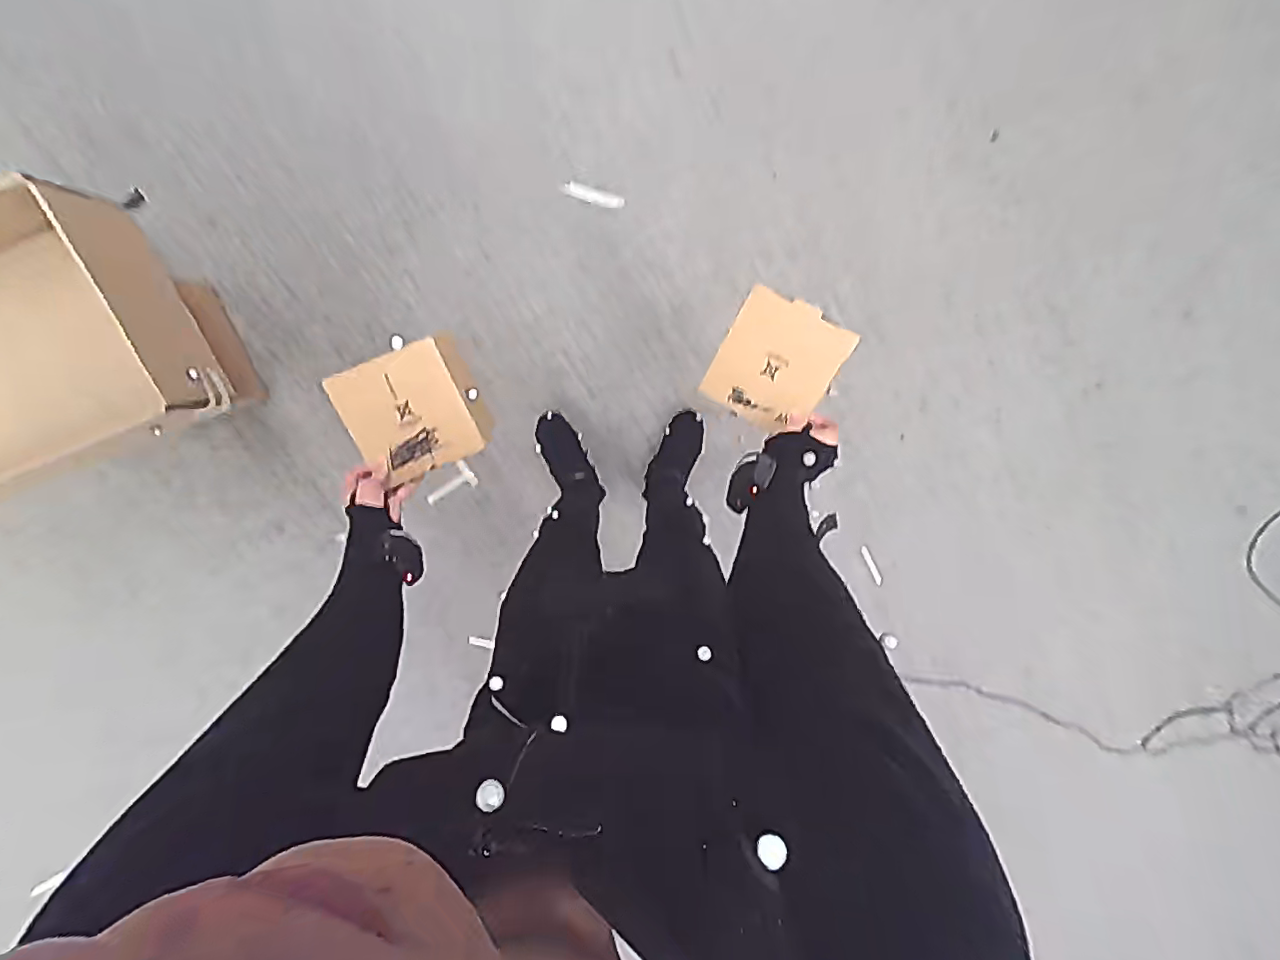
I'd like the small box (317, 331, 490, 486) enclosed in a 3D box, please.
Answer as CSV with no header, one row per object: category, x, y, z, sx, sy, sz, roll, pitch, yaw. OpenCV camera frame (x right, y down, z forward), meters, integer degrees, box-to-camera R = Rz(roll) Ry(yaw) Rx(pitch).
small box,-0.348,-0.120,0.840,0.168,0.176,0.179,-23,110,-2

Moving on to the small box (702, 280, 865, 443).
small box,0.221,-0.180,0.837,0.168,0.176,0.179,33,109,12
